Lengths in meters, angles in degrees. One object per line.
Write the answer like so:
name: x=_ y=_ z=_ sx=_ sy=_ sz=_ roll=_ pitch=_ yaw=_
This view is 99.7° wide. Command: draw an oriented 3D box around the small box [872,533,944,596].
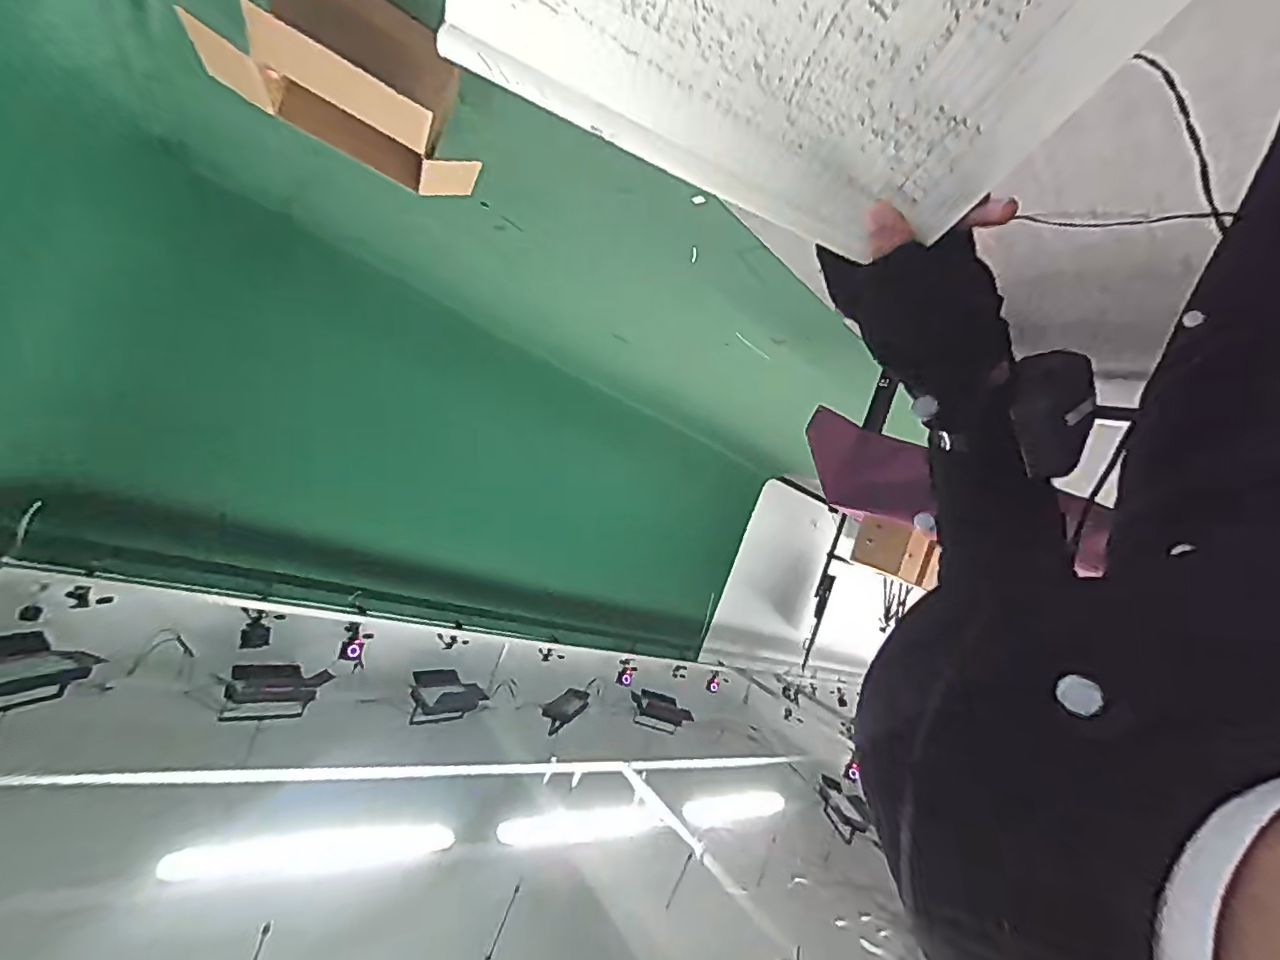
small box: x=0.966 y=0.300 z=1.943 sx=0.168 sy=0.176 sz=0.179 roll=19 pitch=176 yaw=44
